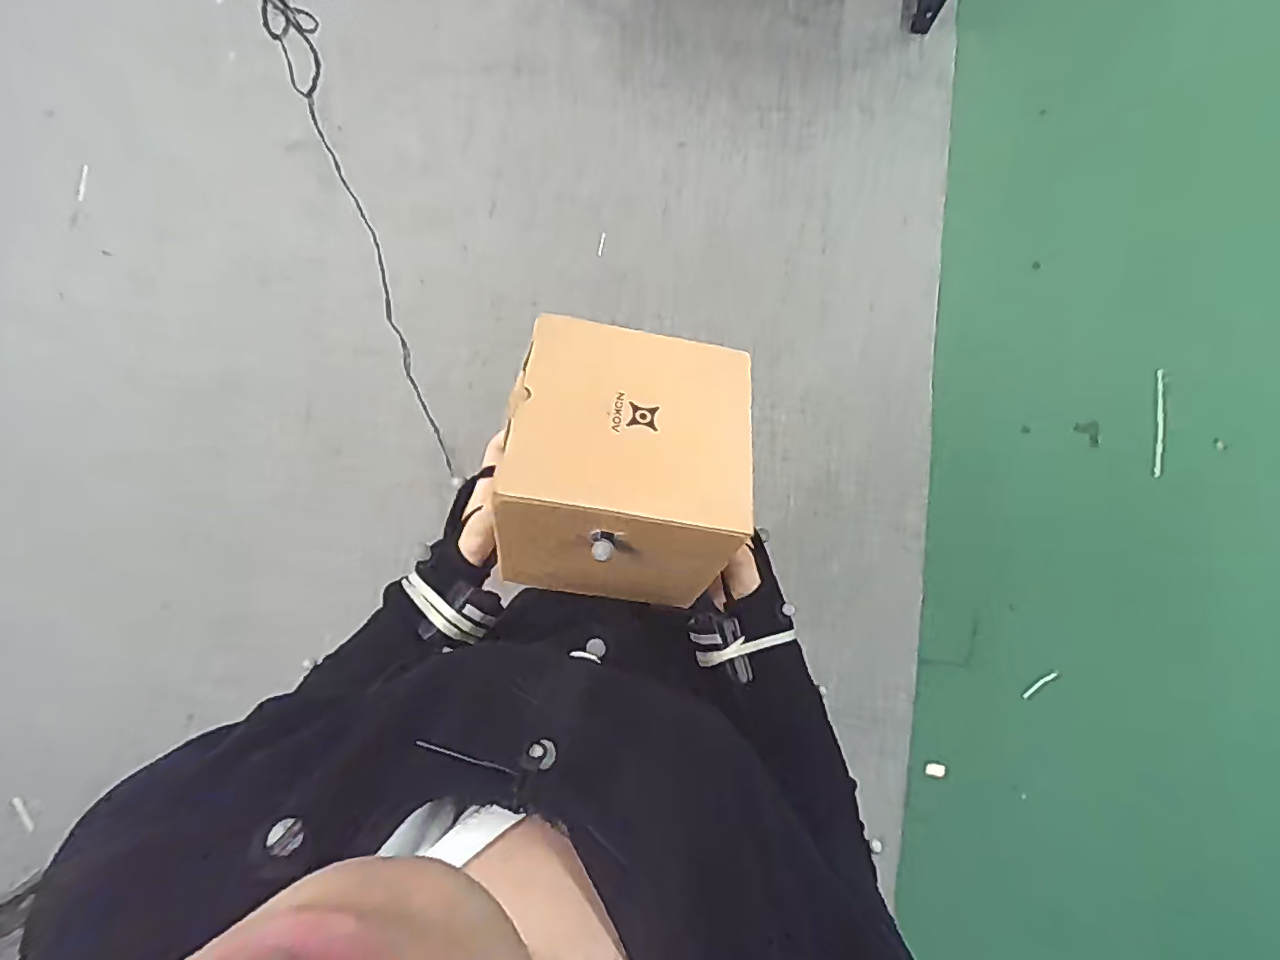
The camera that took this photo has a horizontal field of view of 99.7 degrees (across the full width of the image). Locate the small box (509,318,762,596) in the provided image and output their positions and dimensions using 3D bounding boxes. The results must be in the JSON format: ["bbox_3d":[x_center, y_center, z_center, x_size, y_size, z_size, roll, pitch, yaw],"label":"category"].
[{"bbox_3d":[-0.008,-0.007,0.467,0.179,0.176,0.168,9,60,-7],"label":"small box"}]

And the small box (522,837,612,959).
[{"bbox_3d":[-0.171,1.015,1.325,0.179,0.176,0.168,12,84,0],"label":"small box"}]
